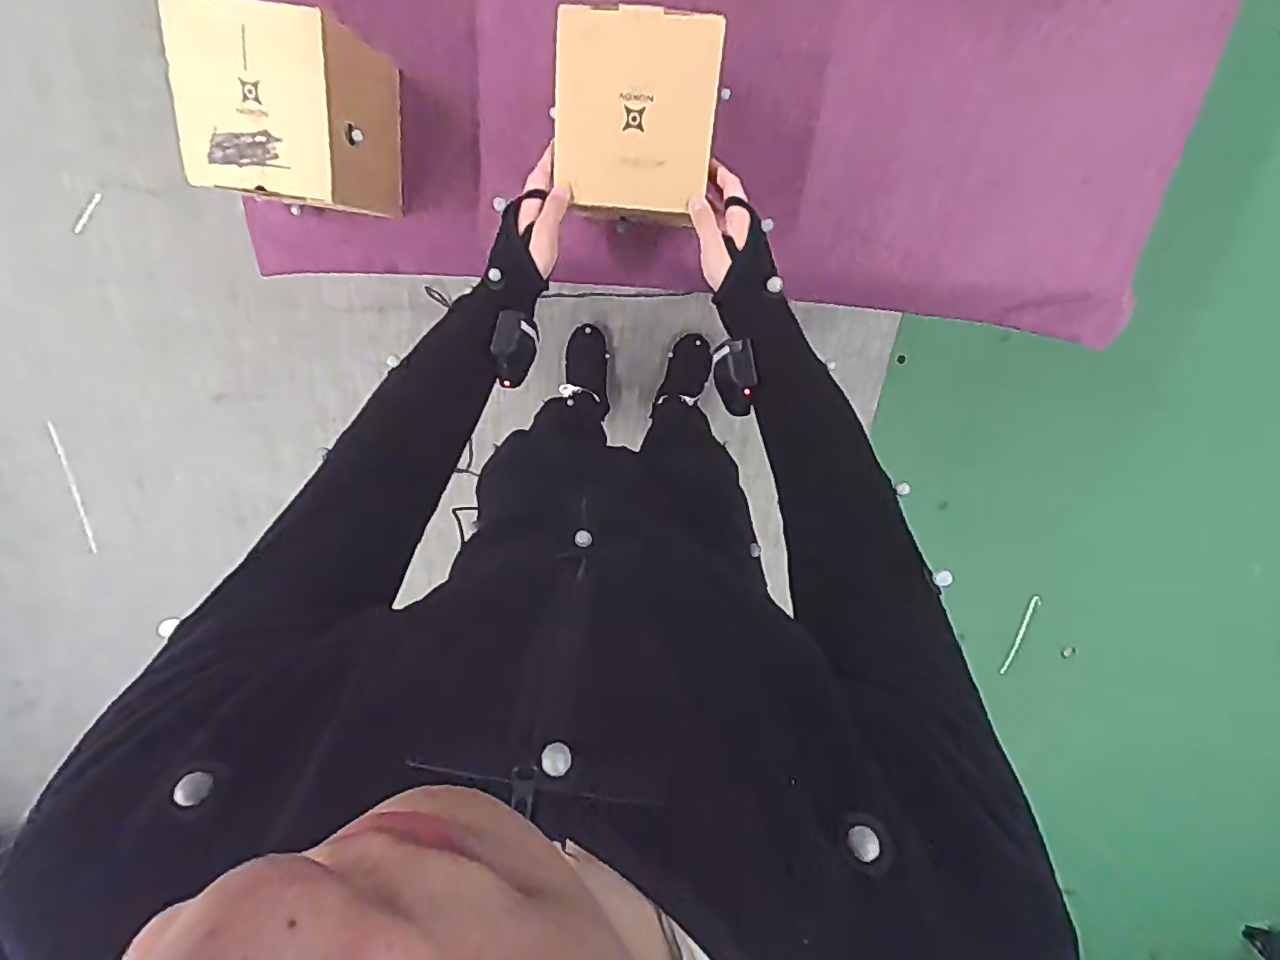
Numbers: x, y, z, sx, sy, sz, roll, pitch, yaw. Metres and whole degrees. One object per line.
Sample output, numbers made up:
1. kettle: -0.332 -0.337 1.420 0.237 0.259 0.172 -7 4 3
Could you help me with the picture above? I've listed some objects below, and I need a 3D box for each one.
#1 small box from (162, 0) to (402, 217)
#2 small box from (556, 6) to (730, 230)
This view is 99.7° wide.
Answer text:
1. small box: -0.397 -0.419 0.636 0.168 0.176 0.179 8 111 0
2. small box: 0.003 -0.398 0.626 0.168 0.176 0.179 6 112 2
